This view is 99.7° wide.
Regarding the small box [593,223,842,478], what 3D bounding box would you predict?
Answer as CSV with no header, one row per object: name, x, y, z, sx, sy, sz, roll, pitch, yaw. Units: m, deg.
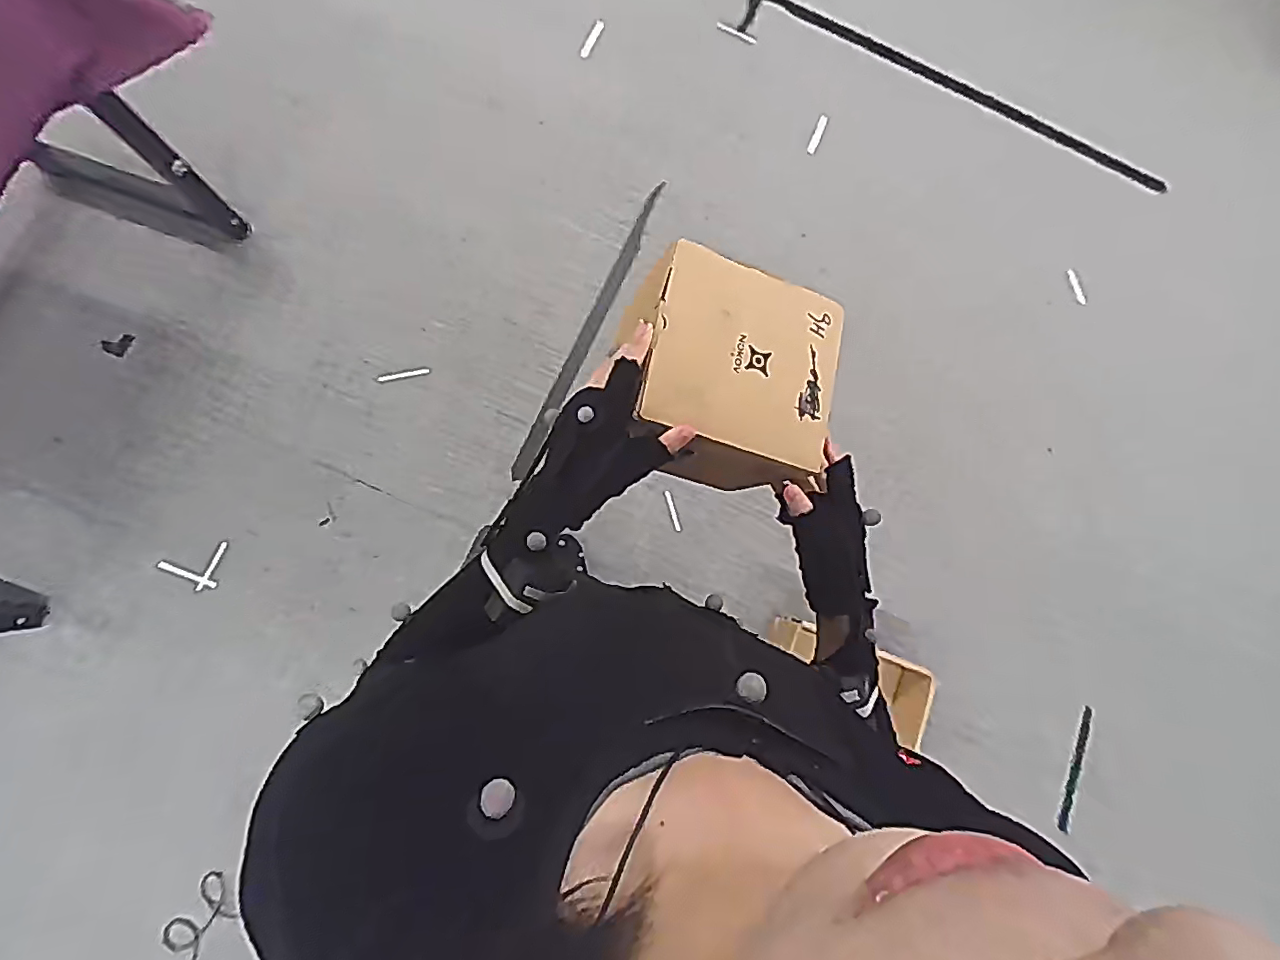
small box,0.064,-0.106,0.531,0.179,0.176,0.168,15,79,-15
